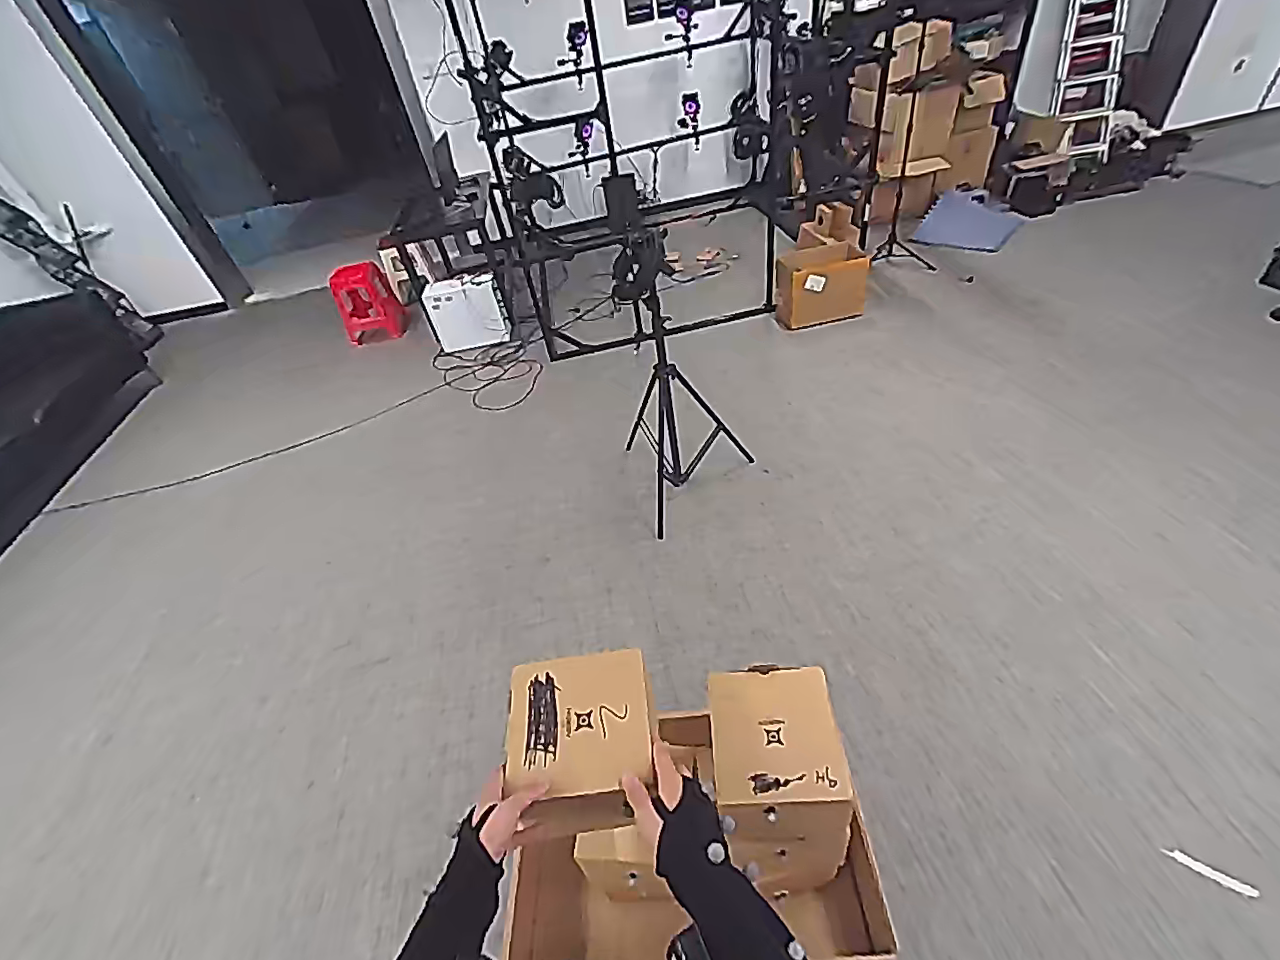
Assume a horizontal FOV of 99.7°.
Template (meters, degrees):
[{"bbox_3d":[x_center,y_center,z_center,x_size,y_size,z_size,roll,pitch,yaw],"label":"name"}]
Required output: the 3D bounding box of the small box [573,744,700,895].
[{"bbox_3d":[0.006,0.548,0.872,0.179,0.176,0.168,-2,42,9],"label":"small box"}]

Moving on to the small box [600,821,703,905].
[{"bbox_3d":[0.024,0.660,0.991,0.179,0.176,0.168,-5,41,5],"label":"small box"}]
